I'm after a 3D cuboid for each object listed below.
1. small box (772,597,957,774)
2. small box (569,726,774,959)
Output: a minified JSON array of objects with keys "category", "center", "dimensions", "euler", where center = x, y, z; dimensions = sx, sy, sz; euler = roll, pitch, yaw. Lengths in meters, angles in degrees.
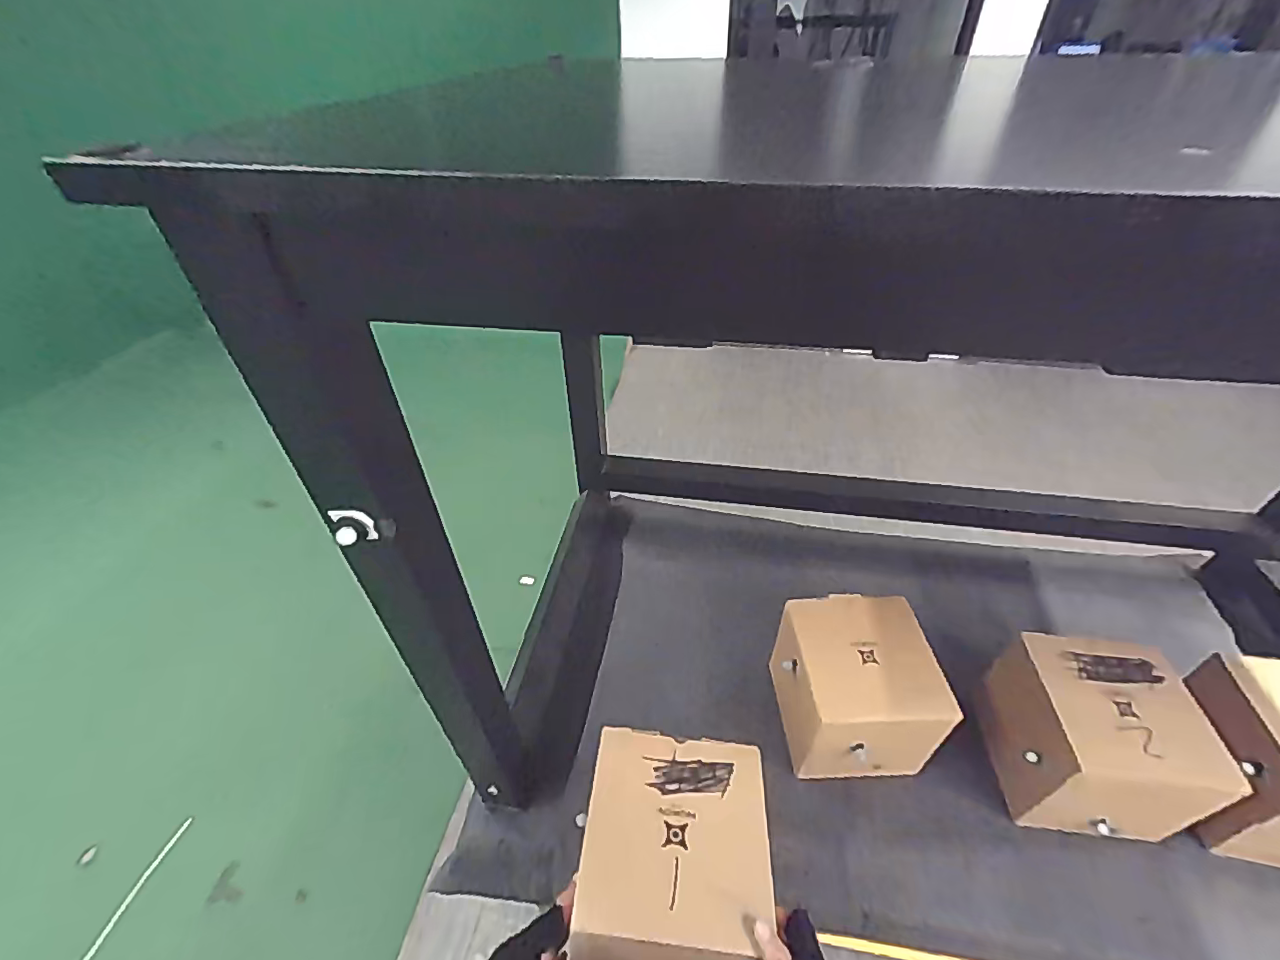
[{"category":"small box","center":[0.285,0.282,0.734],"dimensions":[0.168,0.176,0.179],"euler":[-2,40,0]},{"category":"small box","center":[0.026,0.379,0.532],"dimensions":[0.168,0.176,0.179],"euler":[6,33,3]}]
